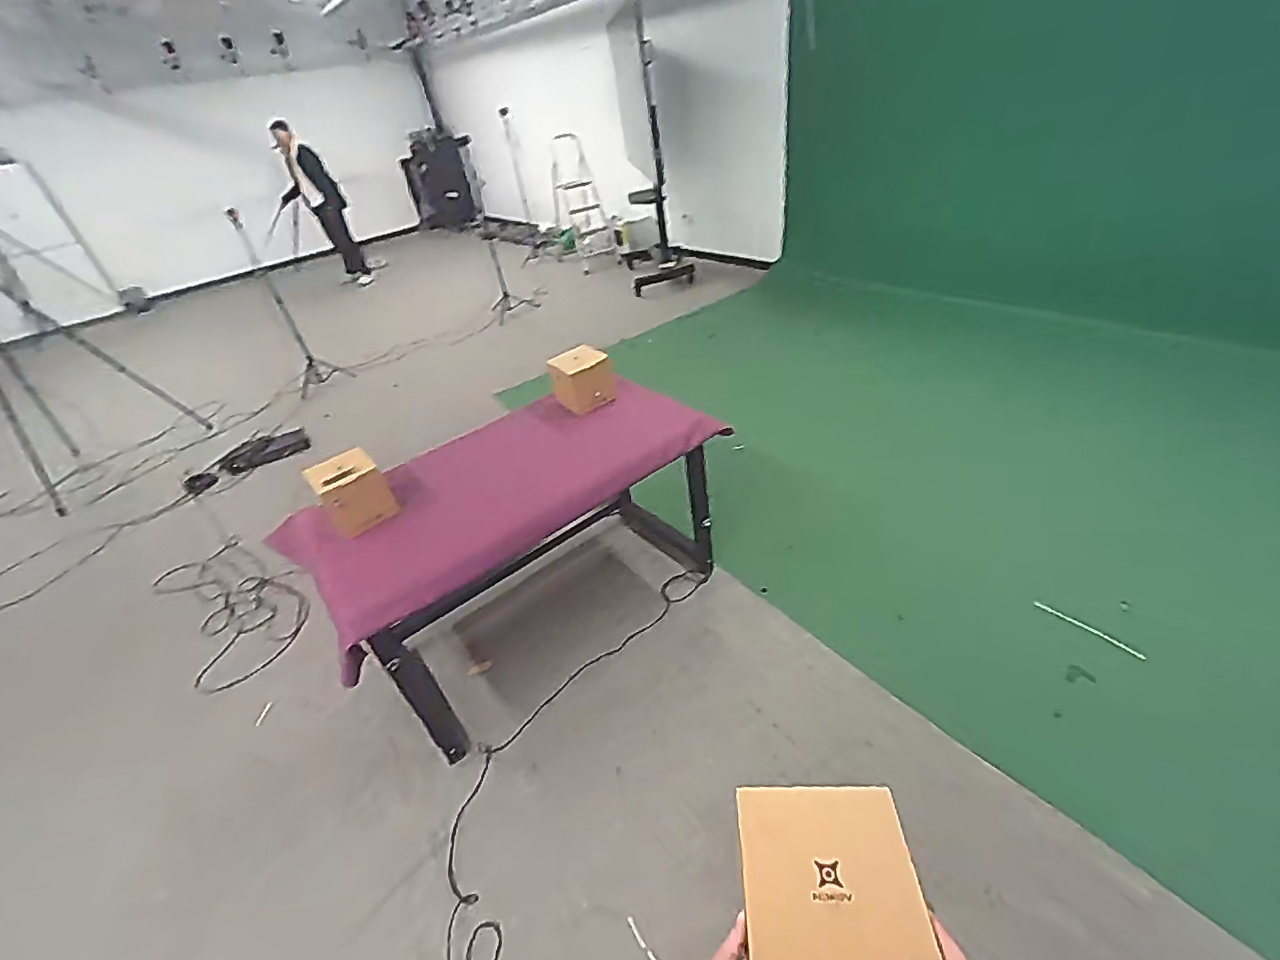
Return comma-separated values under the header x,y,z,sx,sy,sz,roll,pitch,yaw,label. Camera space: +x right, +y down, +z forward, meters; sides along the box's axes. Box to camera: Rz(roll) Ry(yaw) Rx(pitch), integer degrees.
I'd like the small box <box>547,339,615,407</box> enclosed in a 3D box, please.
x,y,z,sx,sy,sz,roll,pitch,yaw,label
-0.211,-0.385,1.956,0.168,0.176,0.179,-32,43,-23,small box

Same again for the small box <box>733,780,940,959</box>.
x,y,z,sx,sy,sz,roll,pitch,yaw,label
0.186,0.444,0.565,0.168,0.176,0.179,-4,36,5,small box
